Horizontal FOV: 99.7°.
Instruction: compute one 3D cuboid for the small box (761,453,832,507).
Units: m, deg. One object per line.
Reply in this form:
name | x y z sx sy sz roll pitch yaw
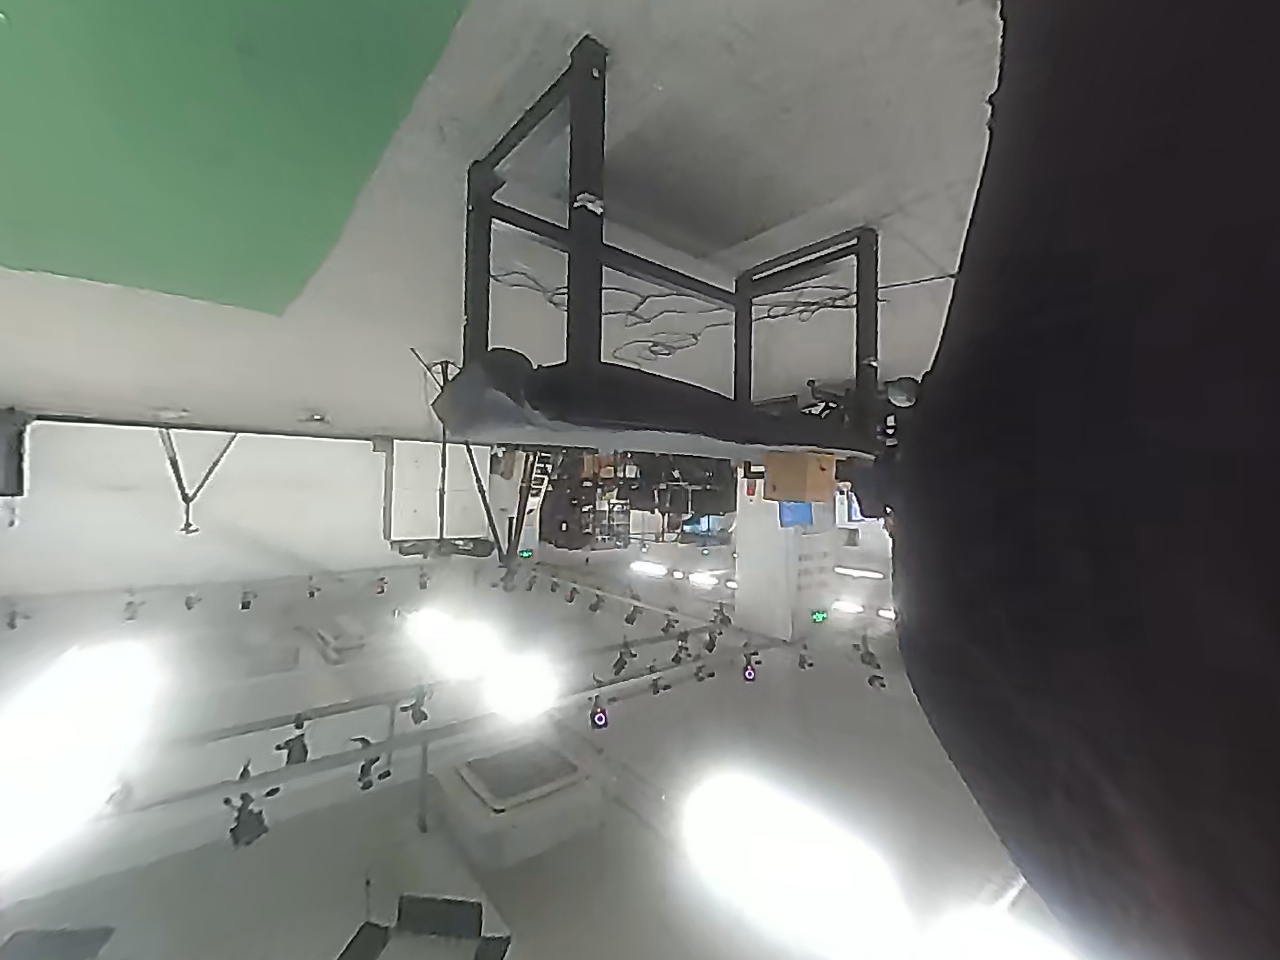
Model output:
small box | 0.541 0.001 1.858 0.168 0.176 0.179 3 179 -38
